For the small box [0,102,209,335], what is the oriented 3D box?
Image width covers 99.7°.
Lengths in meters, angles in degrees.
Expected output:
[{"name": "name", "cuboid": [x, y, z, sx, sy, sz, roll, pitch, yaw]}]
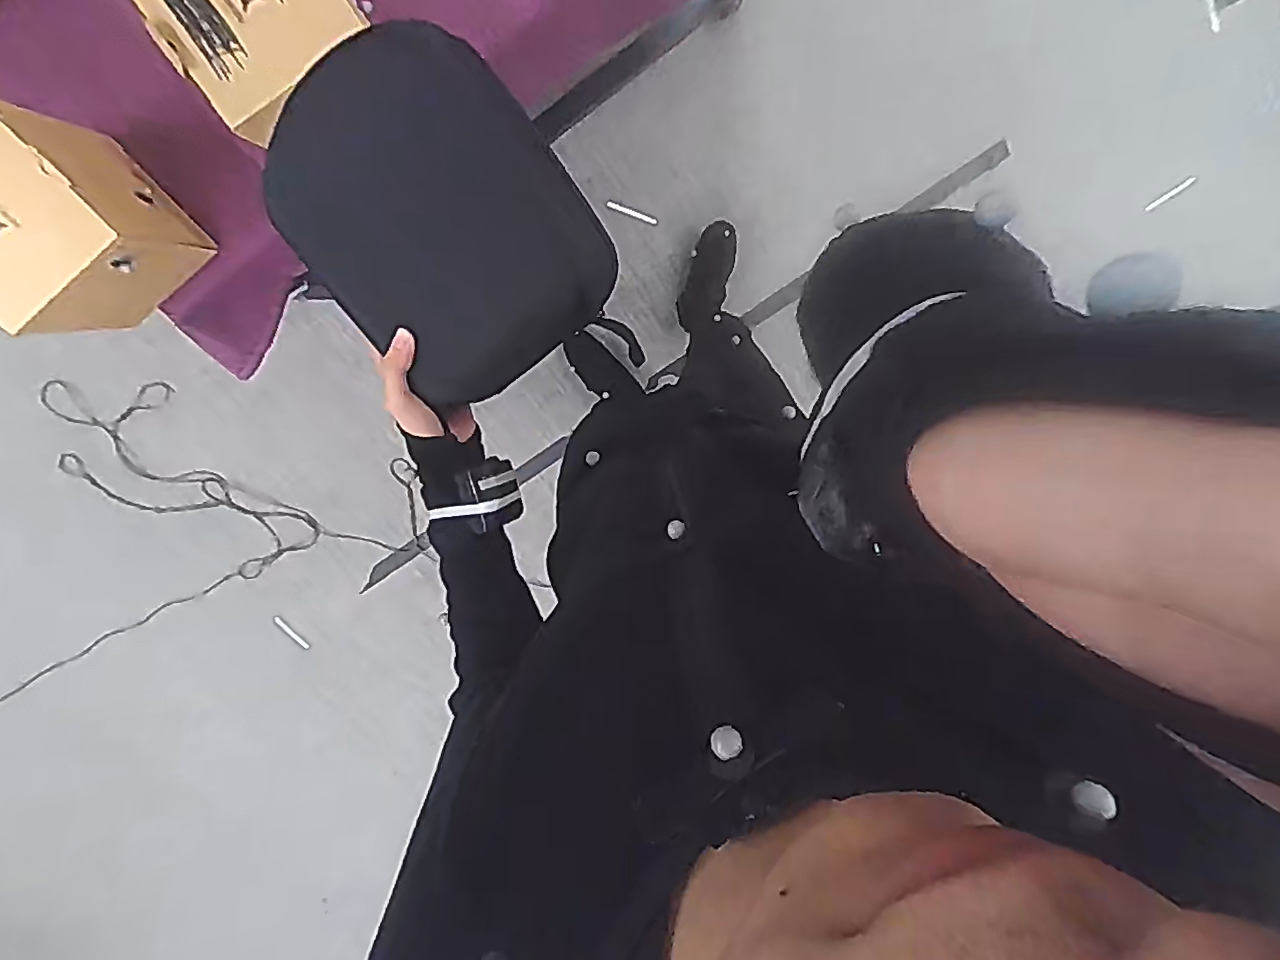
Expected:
[{"name": "small box", "cuboid": [-0.675, -0.291, 0.637, 0.179, 0.176, 0.168, -38, 108, 6]}]
